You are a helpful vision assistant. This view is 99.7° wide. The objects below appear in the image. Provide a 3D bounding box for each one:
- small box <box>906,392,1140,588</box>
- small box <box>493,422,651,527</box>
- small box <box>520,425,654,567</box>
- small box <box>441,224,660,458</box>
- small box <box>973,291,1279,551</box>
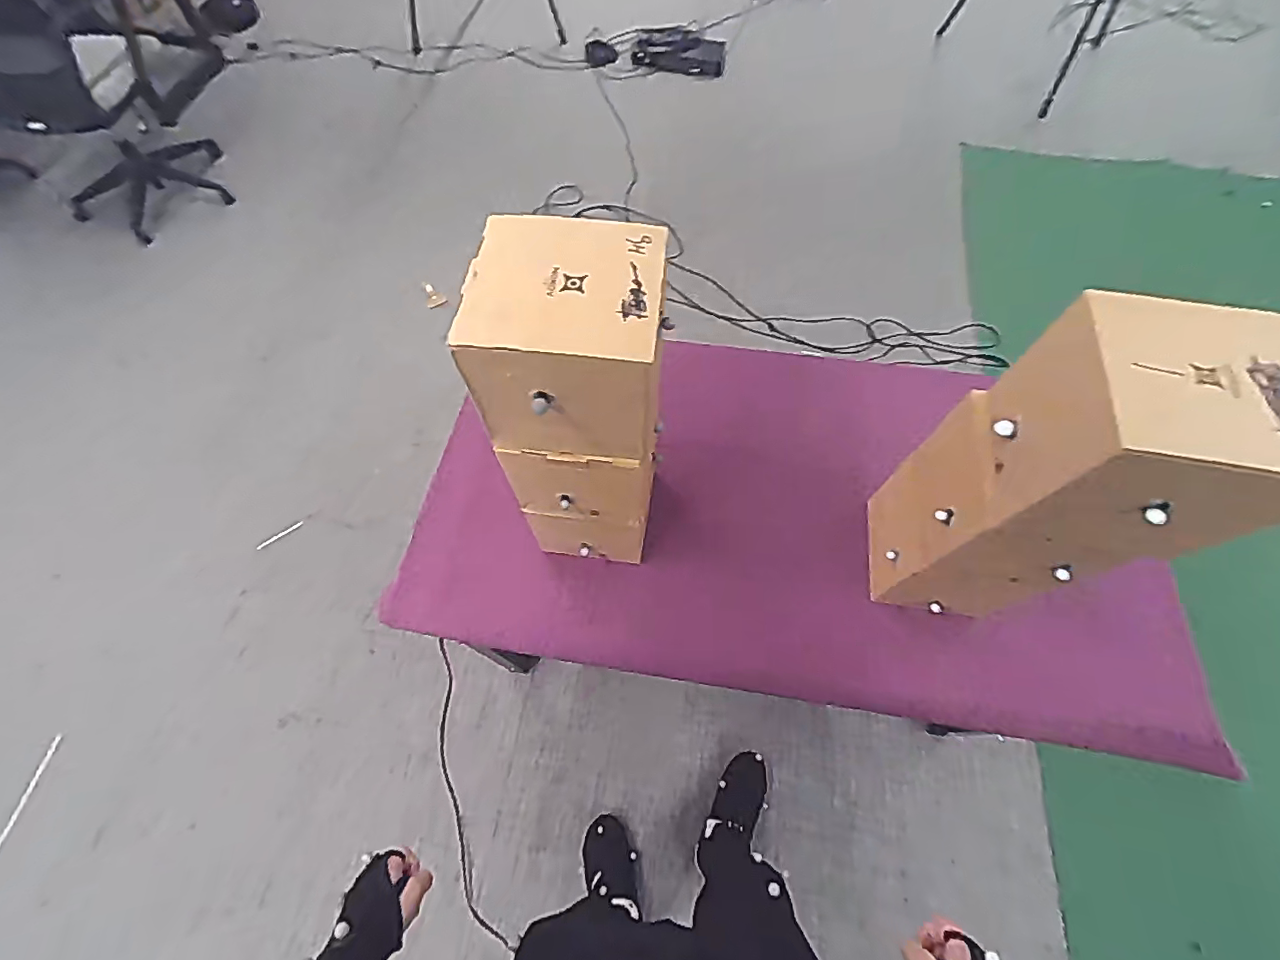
[{"bbox_3d":[0.442,0.020,0.654,0.168,0.176,0.179,8,63,5],"label":"small box"},{"bbox_3d":[-0.074,-0.058,0.704,0.168,0.176,0.179,6,63,3],"label":"small box"},{"bbox_3d":[-0.073,0.018,0.847,0.168,0.176,0.179,7,63,5],"label":"small box"},{"bbox_3d":[-0.074,-0.135,0.559,0.179,0.176,0.168,5,63,4],"label":"small box"},{"bbox_3d":[0.447,-0.044,0.503,0.179,0.176,0.168,9,63,6],"label":"small box"}]
